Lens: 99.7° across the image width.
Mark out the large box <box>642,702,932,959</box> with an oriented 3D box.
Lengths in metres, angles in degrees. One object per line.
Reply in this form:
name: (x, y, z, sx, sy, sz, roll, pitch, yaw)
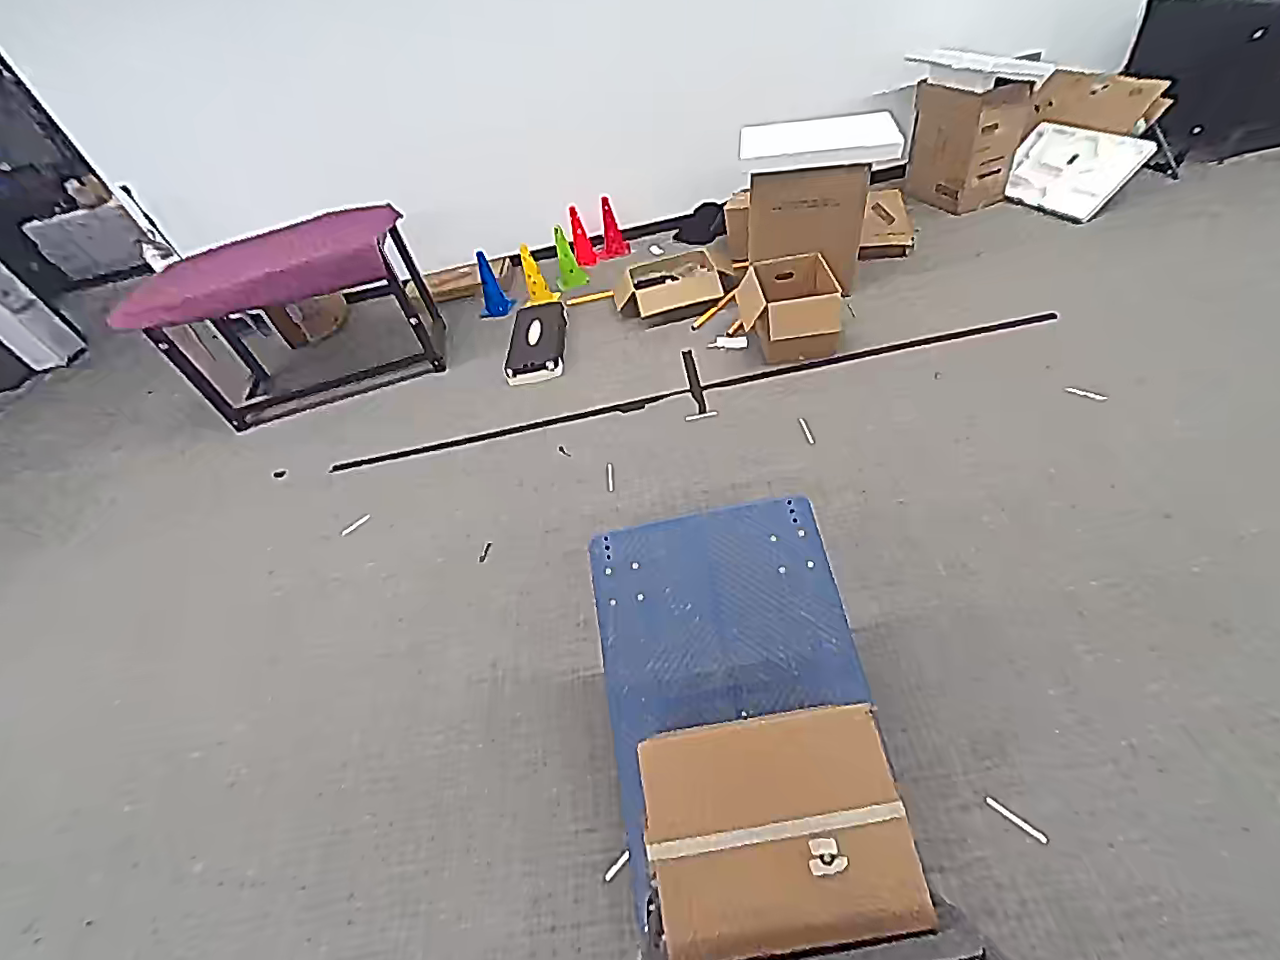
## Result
large box: (0.237, 0.621, 1.013, 0.408, 0.320, 0.320, -11, 67, 1)
